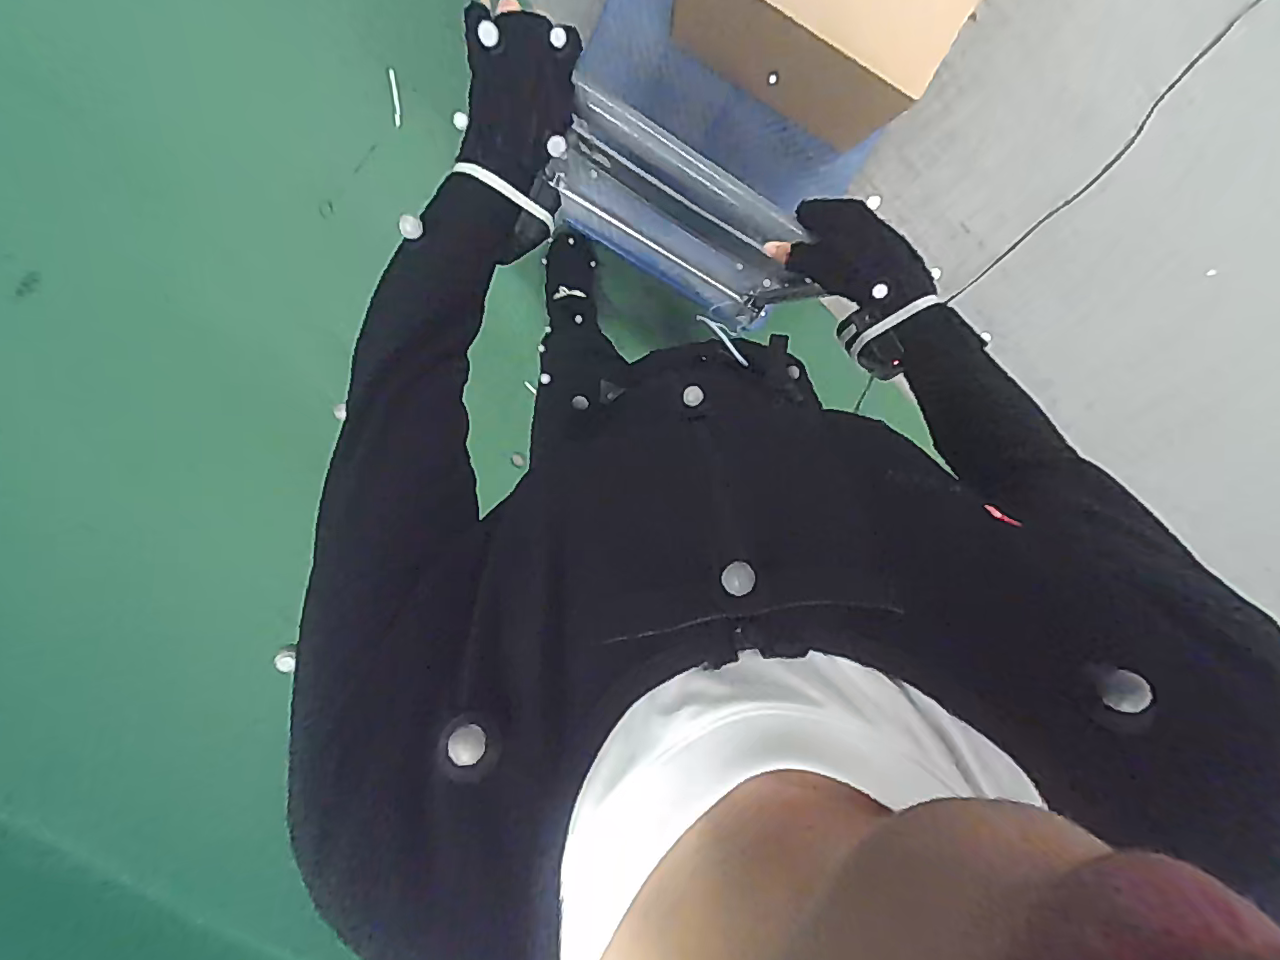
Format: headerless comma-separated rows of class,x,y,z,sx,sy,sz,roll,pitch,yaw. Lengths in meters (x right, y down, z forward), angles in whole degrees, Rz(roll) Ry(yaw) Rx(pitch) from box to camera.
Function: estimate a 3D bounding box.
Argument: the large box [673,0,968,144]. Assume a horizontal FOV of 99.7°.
large box,0.301,-0.827,0.874,0.408,0.320,0.320,26,106,-7
